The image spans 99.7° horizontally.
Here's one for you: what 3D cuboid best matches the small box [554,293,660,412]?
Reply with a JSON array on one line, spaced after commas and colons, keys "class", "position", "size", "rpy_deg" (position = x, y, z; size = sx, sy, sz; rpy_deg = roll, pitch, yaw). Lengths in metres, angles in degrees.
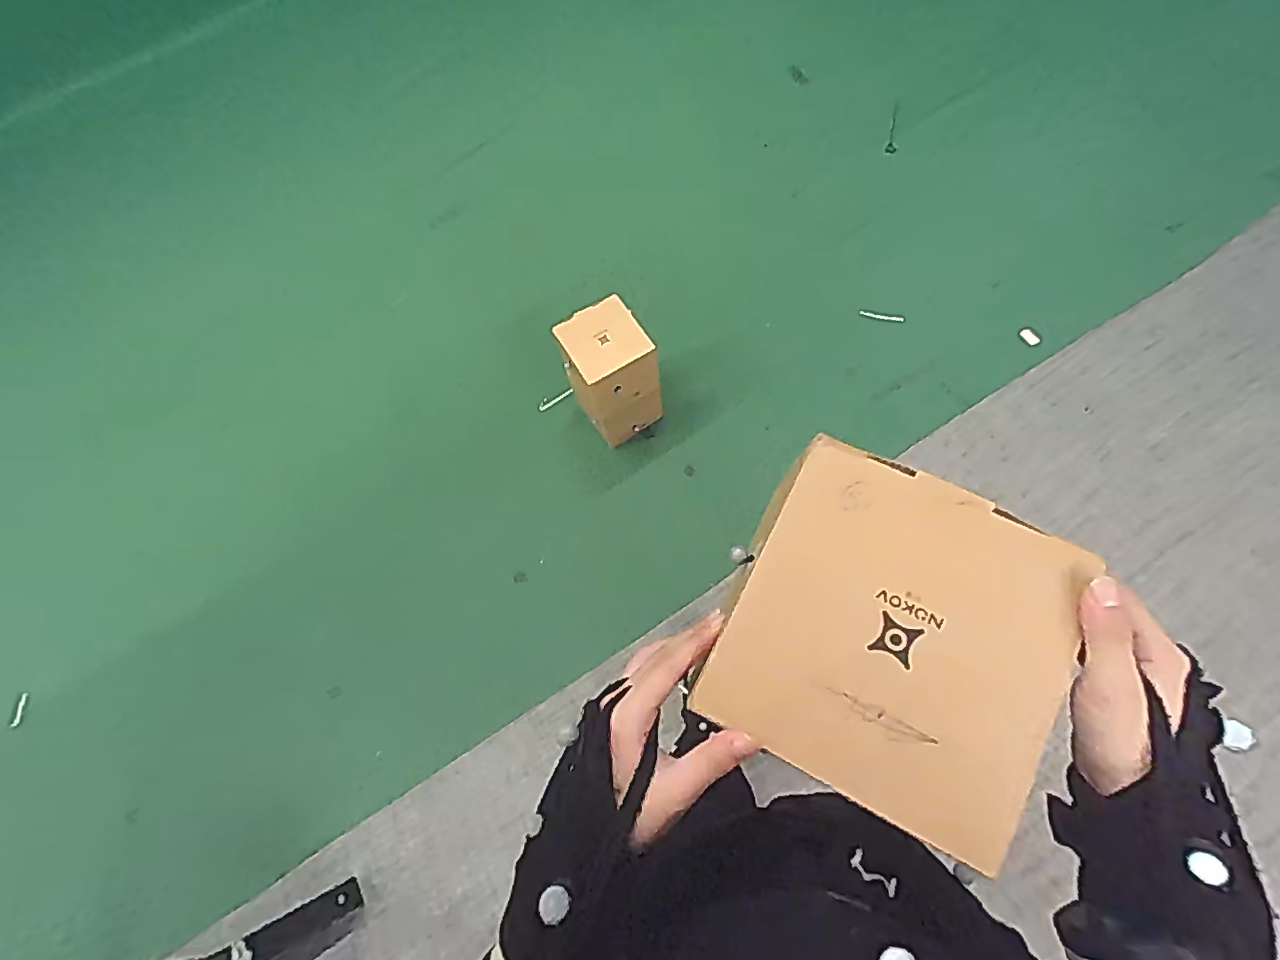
[{"class": "small box", "position": [-0.066, -0.276, 1.224], "size": [0.168, 0.176, 0.179], "rpy_deg": [-31, 69, -6]}]
